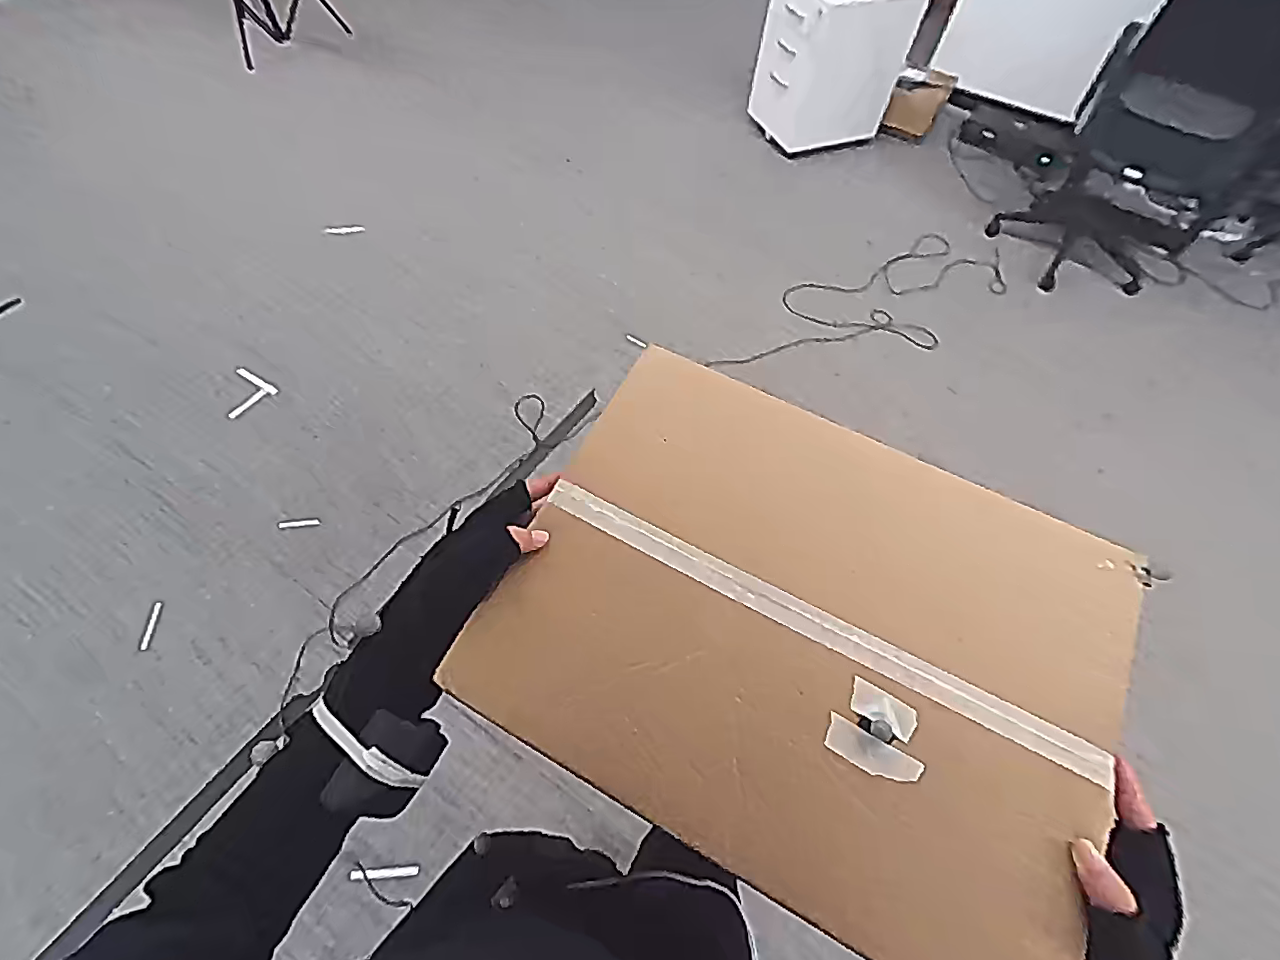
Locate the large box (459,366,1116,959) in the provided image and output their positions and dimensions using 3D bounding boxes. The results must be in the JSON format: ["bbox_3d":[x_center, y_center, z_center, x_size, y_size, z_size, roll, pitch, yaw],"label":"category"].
[{"bbox_3d":[0.114,0.161,0.528,0.408,0.320,0.320,27,70,11],"label":"large box"}]
